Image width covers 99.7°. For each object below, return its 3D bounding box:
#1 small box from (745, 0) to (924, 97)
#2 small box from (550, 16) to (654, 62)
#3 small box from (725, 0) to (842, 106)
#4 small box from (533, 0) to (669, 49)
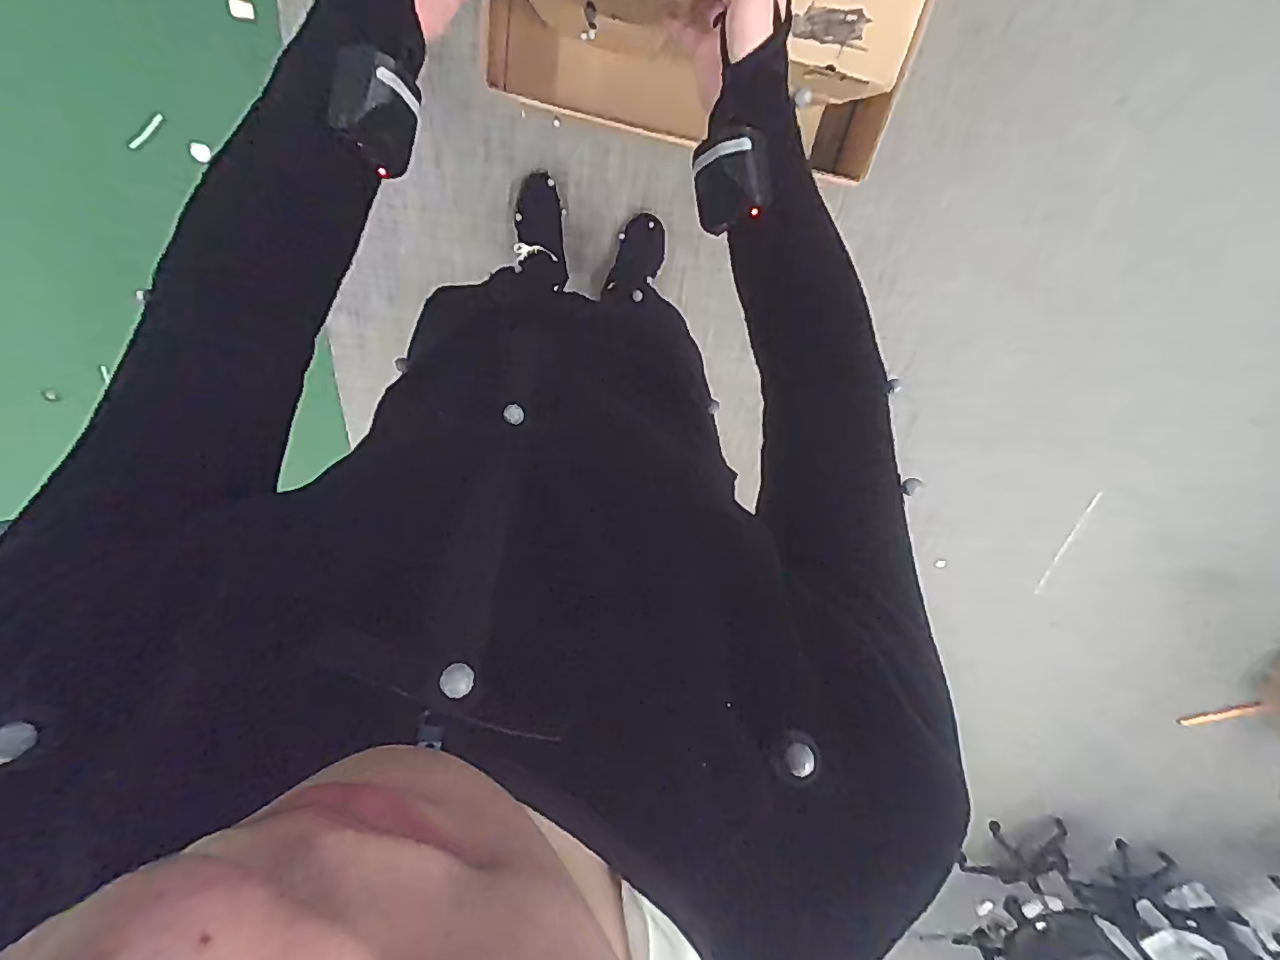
[{"bbox_3d":[0.237,-0.594,0.662,0.168,0.176,0.179,10,120,-7],"label":"small box"},{"bbox_3d":[-0.039,-0.728,0.762,0.168,0.176,0.179,12,120,-8],"label":"small box"},{"bbox_3d":[0.232,-0.679,0.803,0.168,0.176,0.179,10,121,-8],"label":"small box"},{"bbox_3d":[-0.034,-0.635,0.627,0.168,0.176,0.179,10,121,-9],"label":"small box"}]
